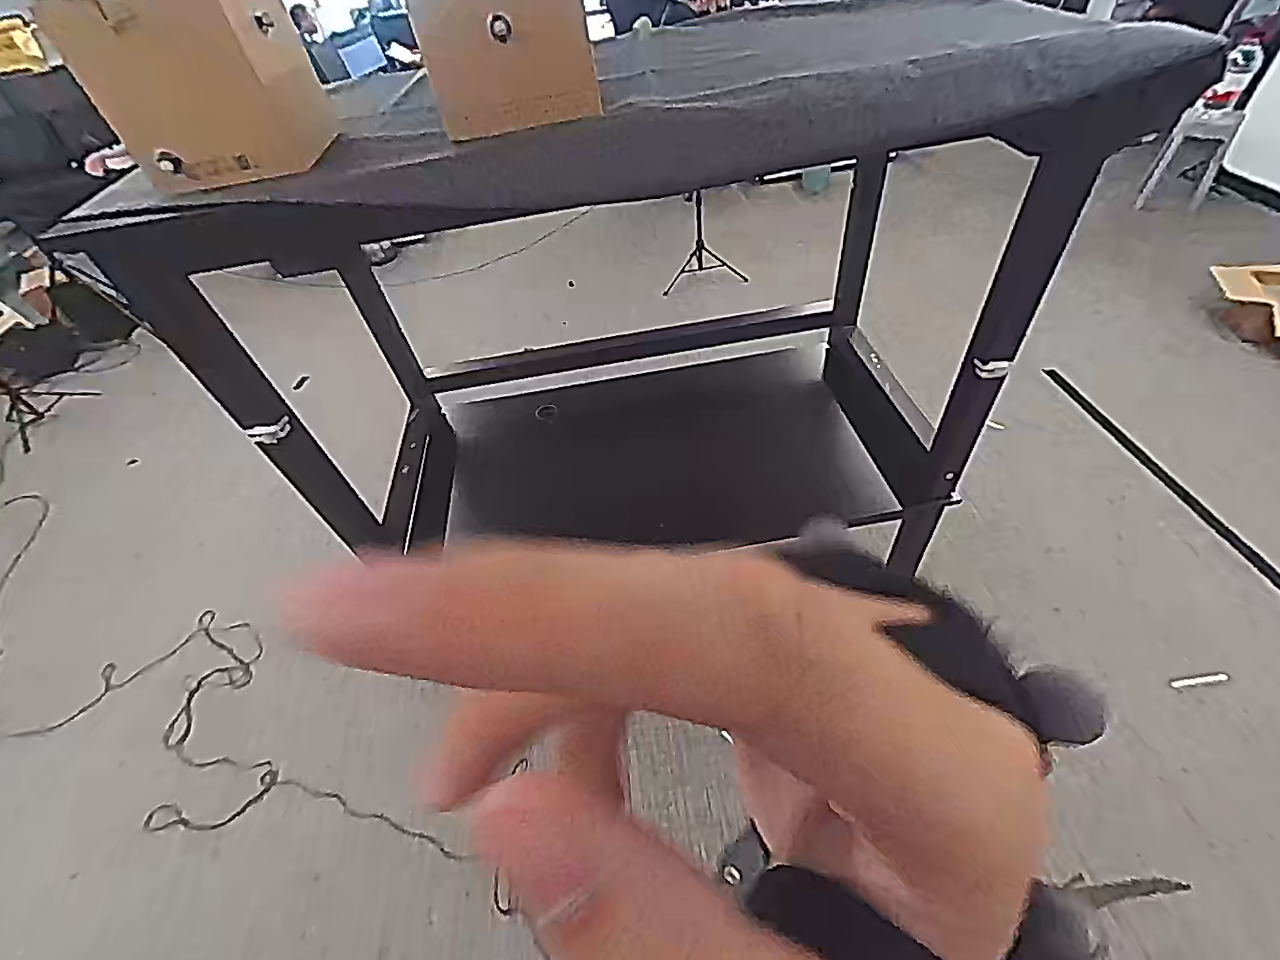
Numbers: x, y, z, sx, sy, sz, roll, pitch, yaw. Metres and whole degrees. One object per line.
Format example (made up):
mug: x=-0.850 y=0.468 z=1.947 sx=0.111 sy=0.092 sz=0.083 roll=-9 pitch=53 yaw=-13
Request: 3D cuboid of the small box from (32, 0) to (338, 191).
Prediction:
small box: x=-0.469 y=-0.439 z=0.600 sx=0.168 sy=0.176 sz=0.179 roll=-11 pitch=46 yaw=-1
